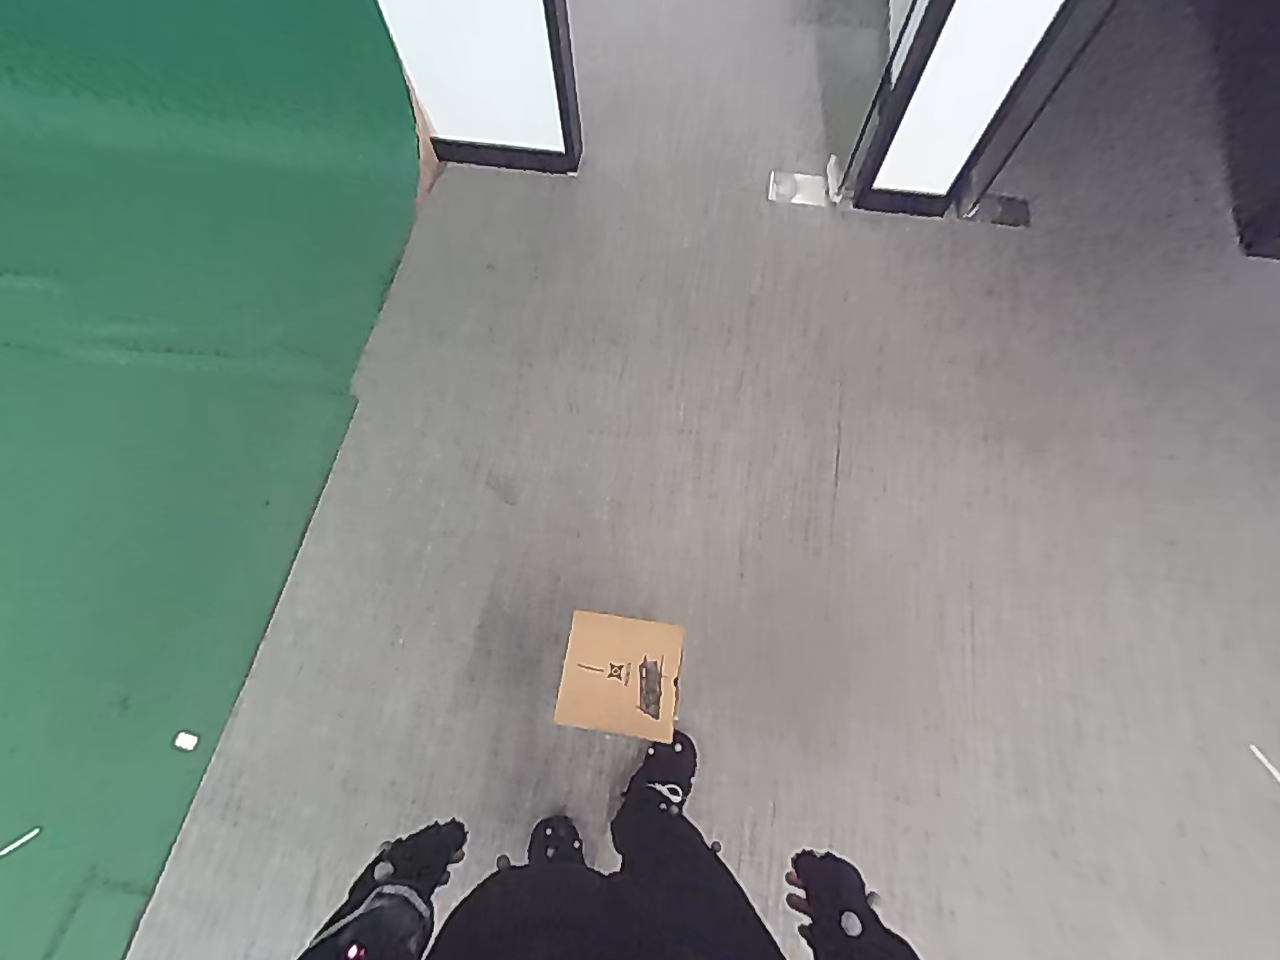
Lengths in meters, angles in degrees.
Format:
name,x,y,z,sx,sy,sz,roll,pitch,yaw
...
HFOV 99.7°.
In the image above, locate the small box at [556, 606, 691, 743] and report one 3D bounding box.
name,x,y,z,sx,sy,sz,roll,pitch,yaw
small box,-0.022,0.316,0.881,0.179,0.176,0.168,11,67,5
